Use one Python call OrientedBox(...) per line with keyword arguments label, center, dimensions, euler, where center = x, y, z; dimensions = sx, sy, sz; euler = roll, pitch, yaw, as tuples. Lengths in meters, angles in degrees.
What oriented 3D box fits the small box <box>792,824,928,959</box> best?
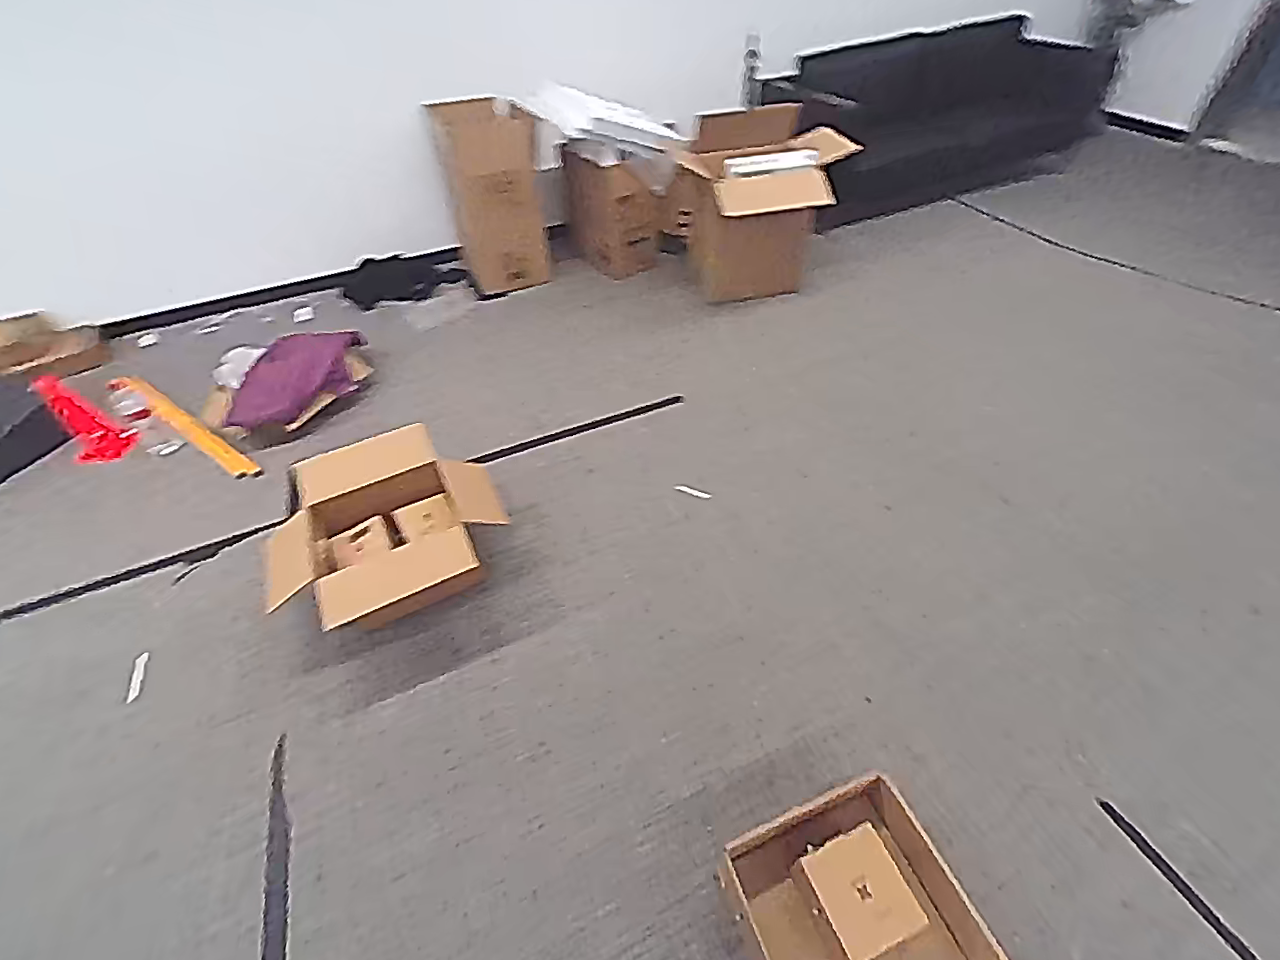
OrientedBox(label="small box", center=(0.421, 0.827, 1.072), dimensions=(0.168, 0.176, 0.179), euler=(-20, 50, -11))
